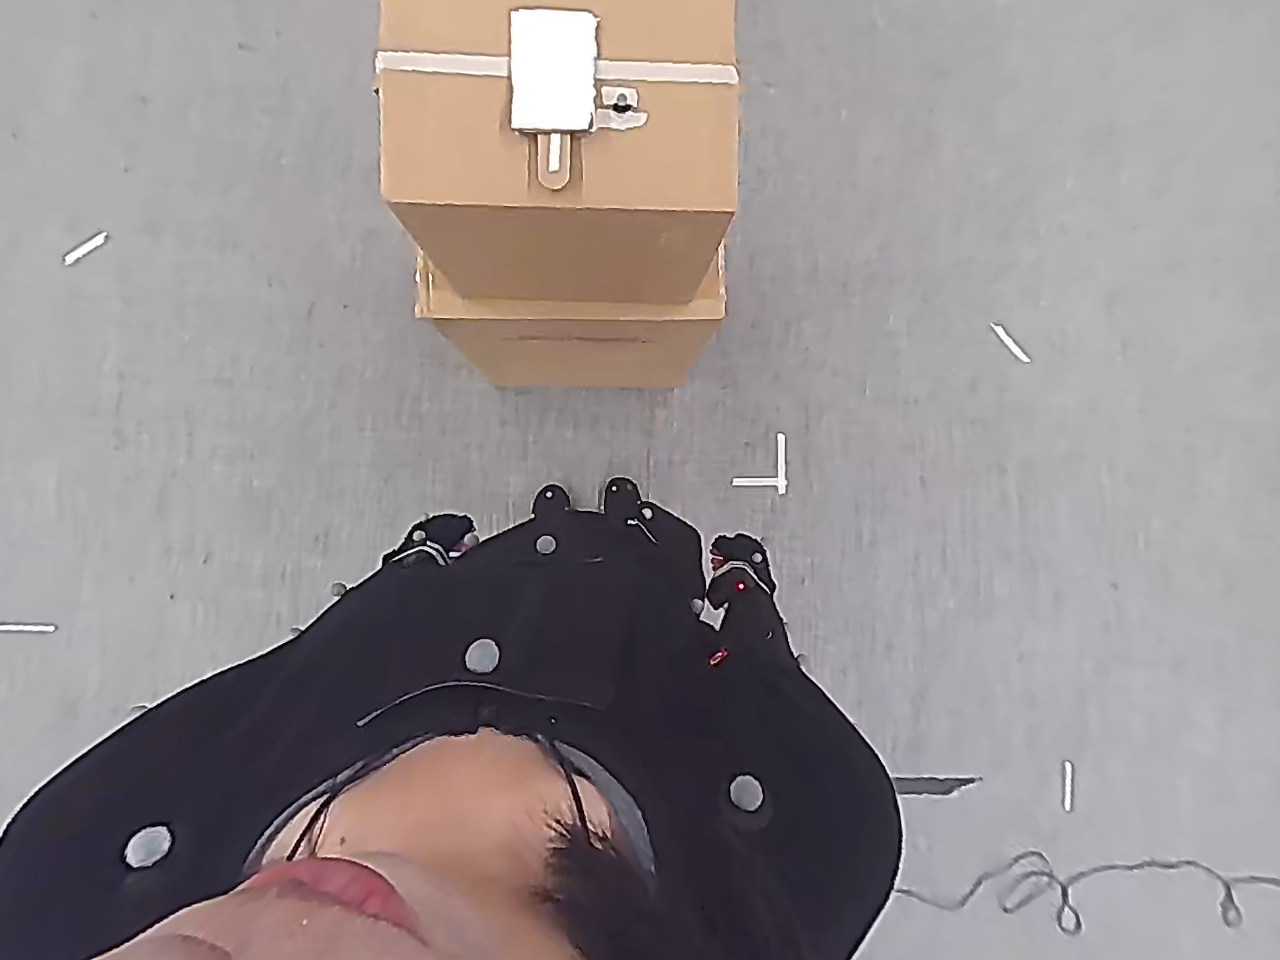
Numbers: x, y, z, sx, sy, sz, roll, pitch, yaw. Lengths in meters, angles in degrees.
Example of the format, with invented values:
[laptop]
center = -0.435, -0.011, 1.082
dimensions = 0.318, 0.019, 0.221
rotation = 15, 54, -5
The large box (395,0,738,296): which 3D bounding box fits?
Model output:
[large box]
center = -0.097, -0.471, 0.784
dimensions = 0.408, 0.320, 0.320
rotation = -1, 89, -5
